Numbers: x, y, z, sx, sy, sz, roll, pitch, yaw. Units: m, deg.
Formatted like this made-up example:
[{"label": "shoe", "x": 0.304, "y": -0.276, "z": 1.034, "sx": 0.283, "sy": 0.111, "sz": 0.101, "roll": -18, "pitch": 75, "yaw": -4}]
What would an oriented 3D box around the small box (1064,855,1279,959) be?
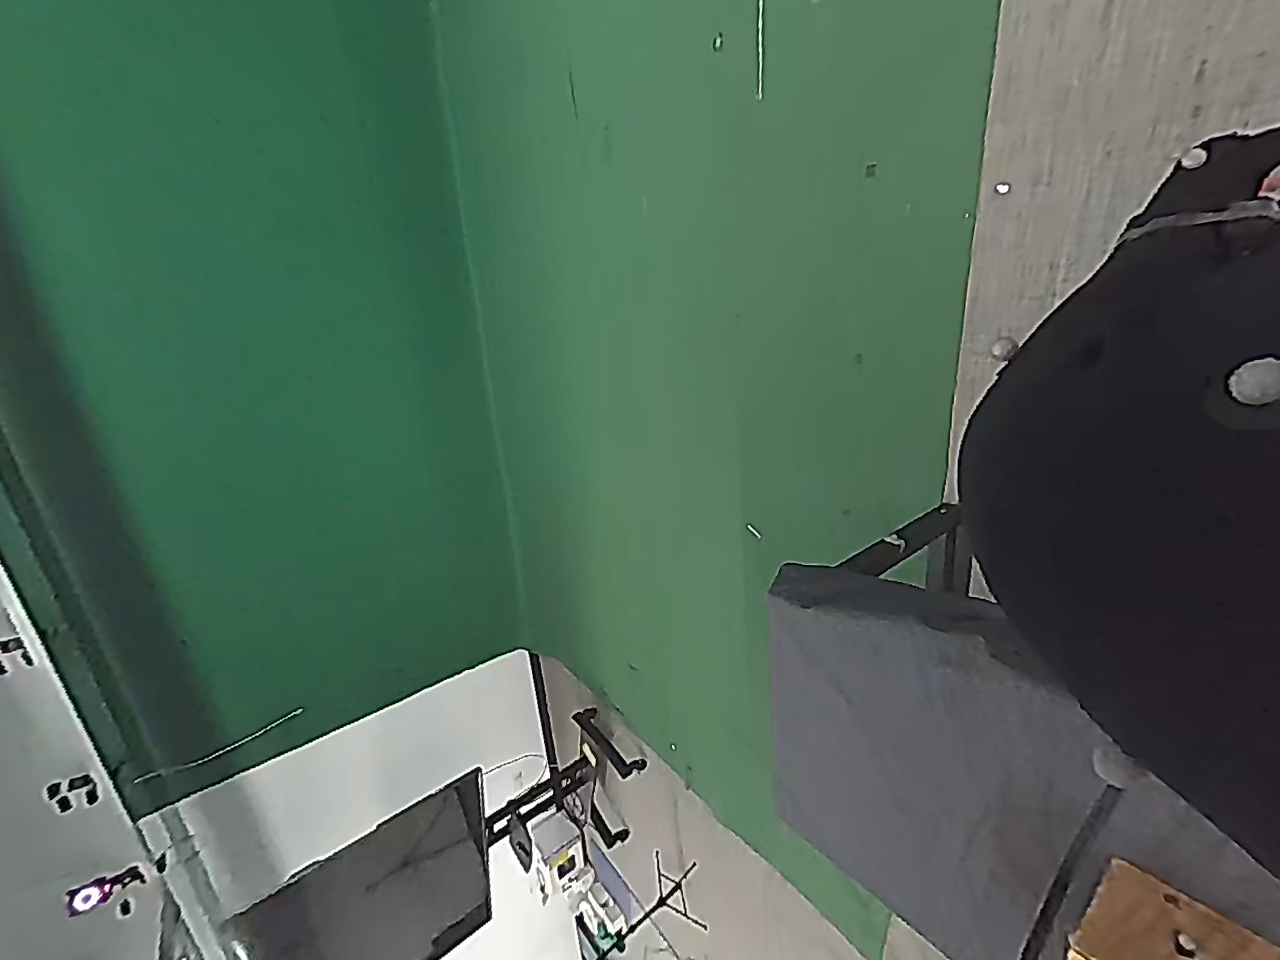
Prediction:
[{"label": "small box", "x": 0.625, "y": 0.609, "z": 0.645, "sx": 0.168, "sy": 0.176, "sz": 0.179, "roll": 17, "pitch": 118, "yaw": 51}]
